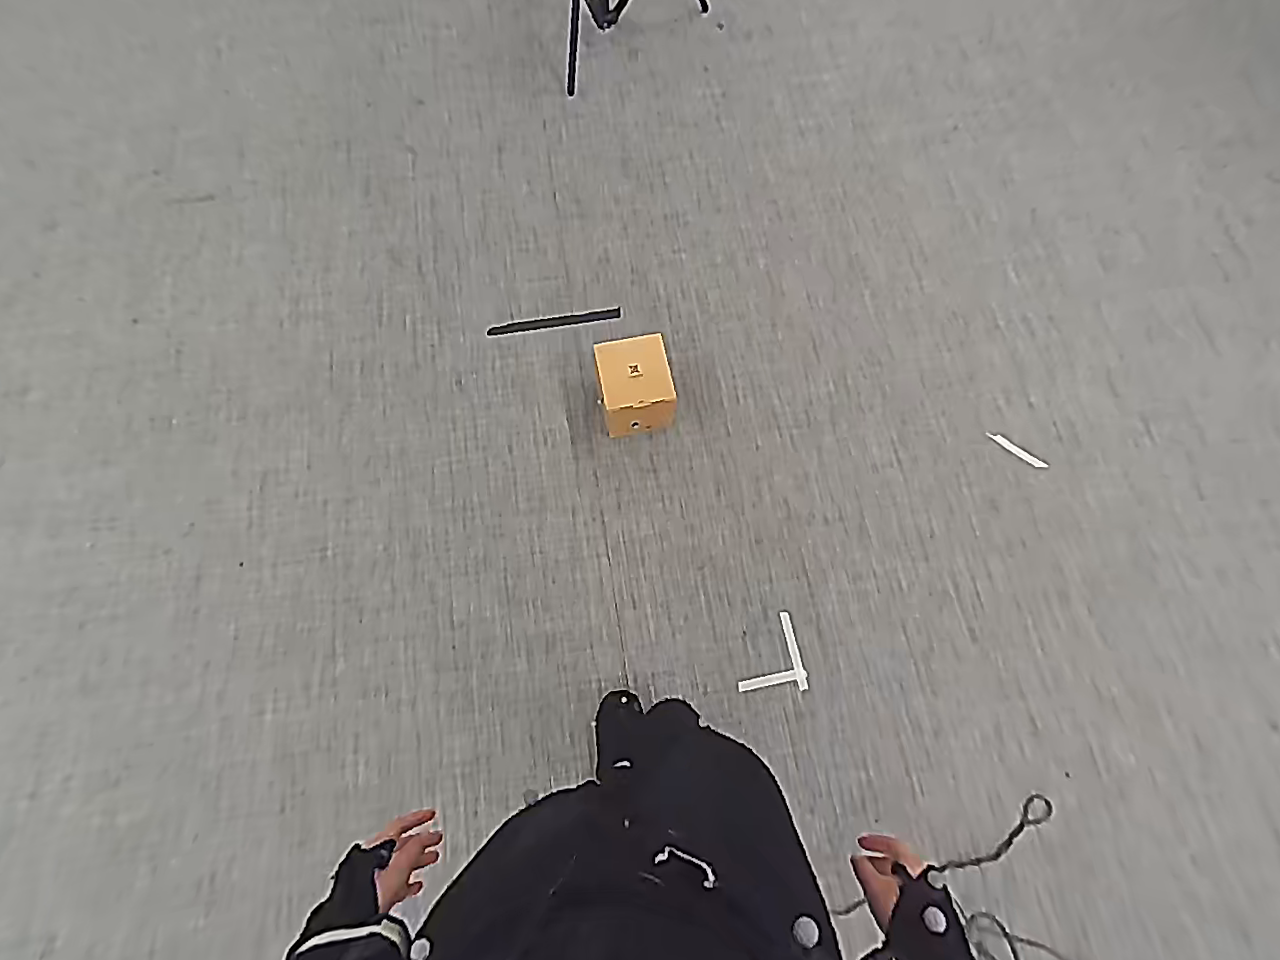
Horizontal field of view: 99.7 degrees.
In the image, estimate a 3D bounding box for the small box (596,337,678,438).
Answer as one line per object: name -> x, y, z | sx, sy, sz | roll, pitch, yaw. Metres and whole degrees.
small box -> -0.013, -0.222, 1.328 | 0.168, 0.176, 0.179 | -11, 75, -5
